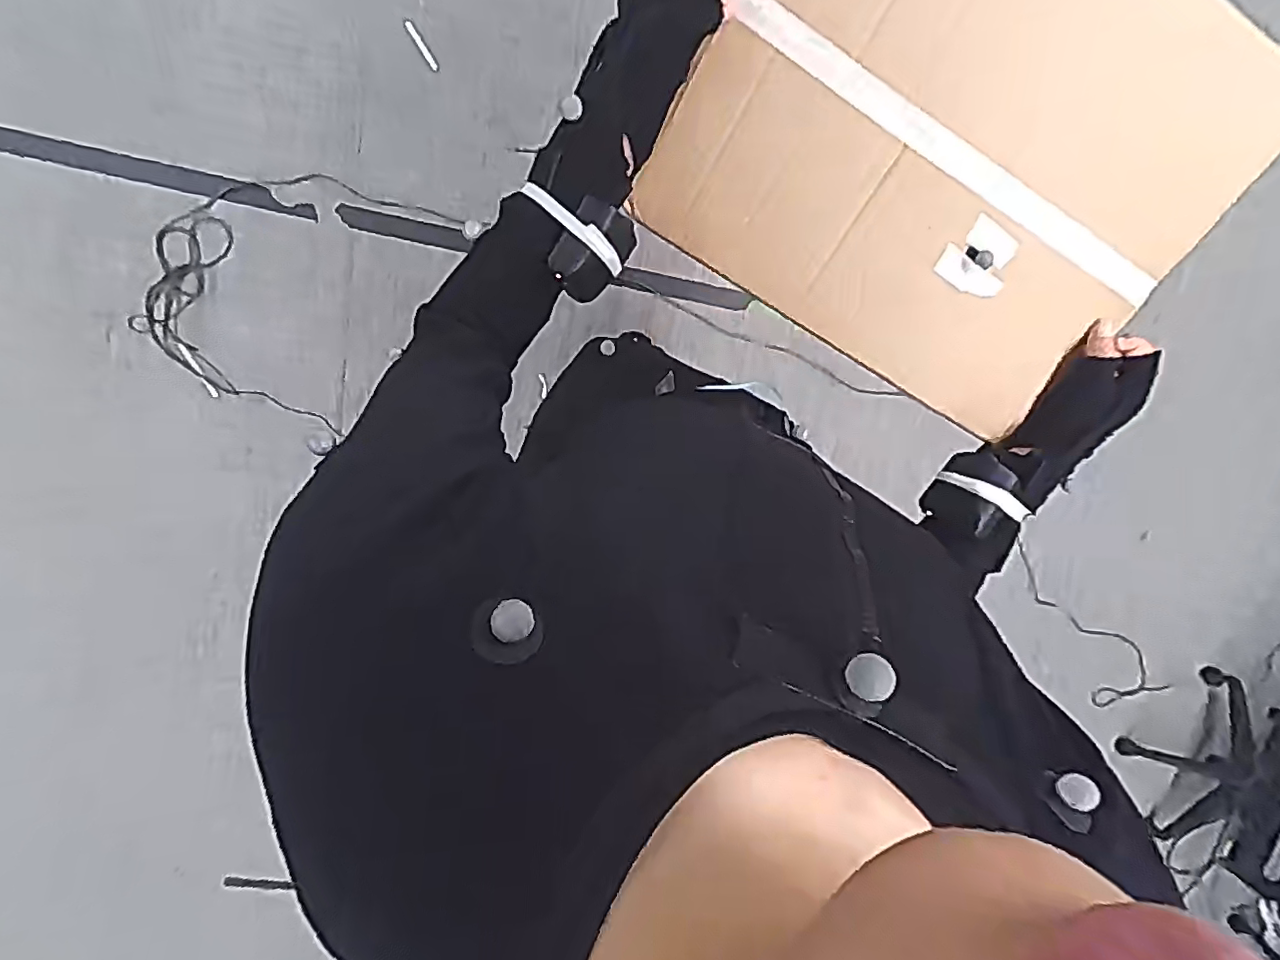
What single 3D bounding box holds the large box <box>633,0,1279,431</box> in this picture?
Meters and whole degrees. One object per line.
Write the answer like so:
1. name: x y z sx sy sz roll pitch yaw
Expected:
1. large box: 0.241 -0.315 0.555 0.408 0.320 0.320 29 114 -11
